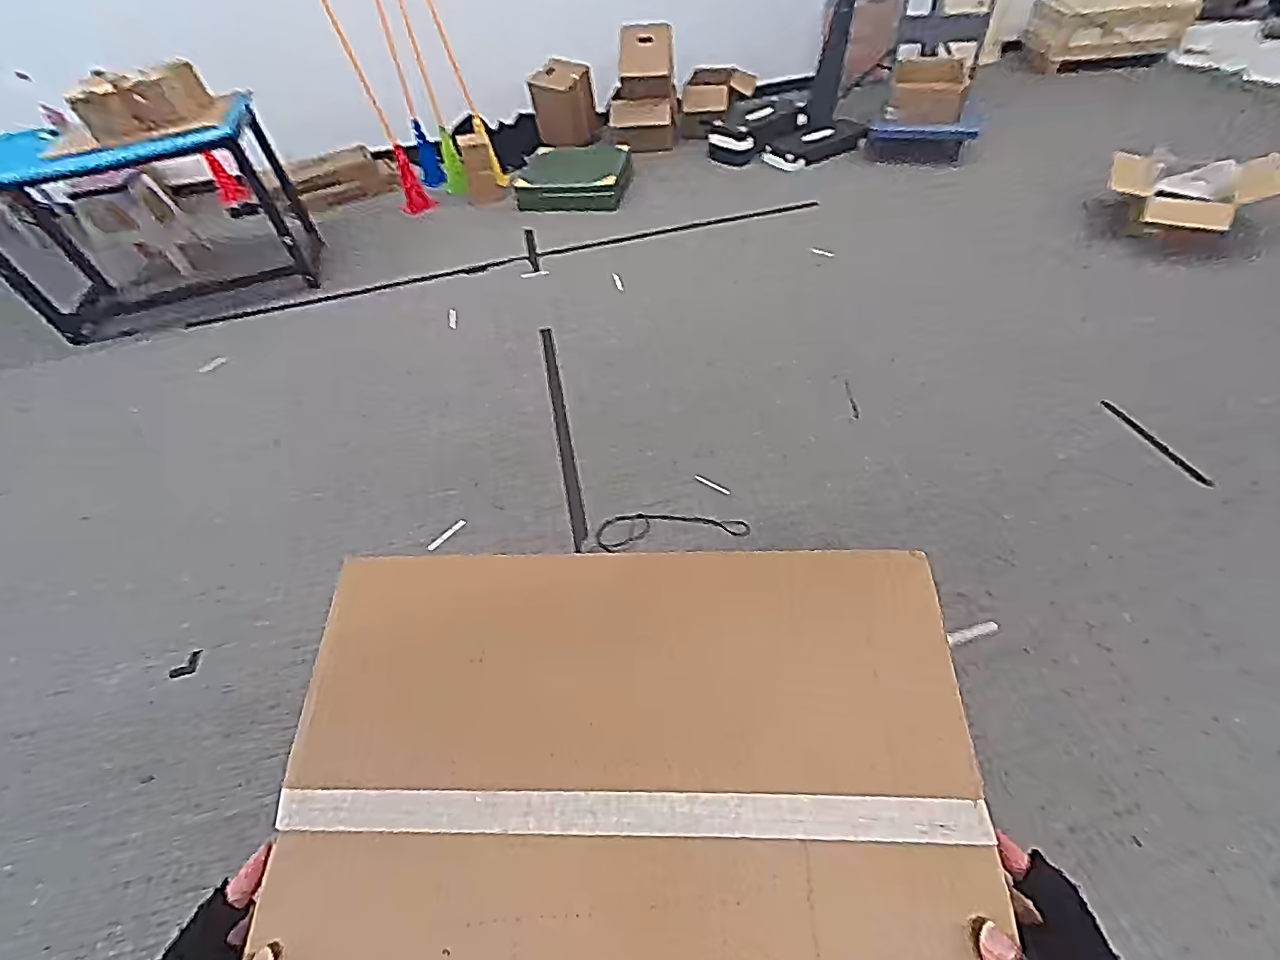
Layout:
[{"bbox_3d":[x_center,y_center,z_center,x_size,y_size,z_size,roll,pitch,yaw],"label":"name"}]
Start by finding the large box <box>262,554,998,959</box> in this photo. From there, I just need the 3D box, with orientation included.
[{"bbox_3d":[-0.003,0.264,0.452,0.408,0.320,0.320,-2,64,4],"label":"large box"}]
